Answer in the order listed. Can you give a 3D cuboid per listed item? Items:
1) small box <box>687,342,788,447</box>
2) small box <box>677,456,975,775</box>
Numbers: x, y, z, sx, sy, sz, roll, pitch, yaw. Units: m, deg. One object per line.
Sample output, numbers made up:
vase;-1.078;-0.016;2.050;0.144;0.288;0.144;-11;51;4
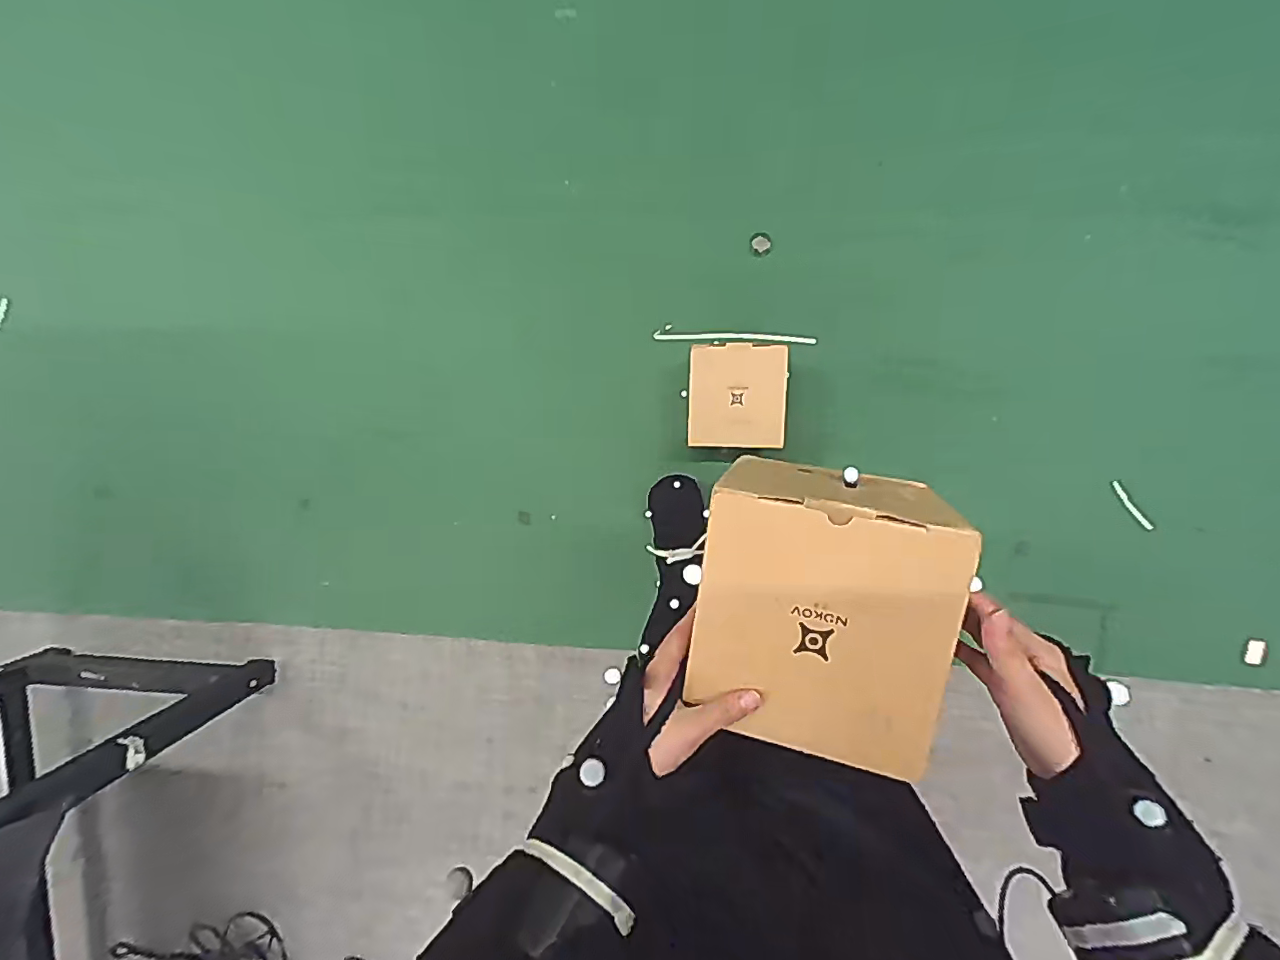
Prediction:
small box;0.172;-0.154;1.001;0.168;0.176;0.179;2;98;6
small box;0.138;0.086;0.438;0.168;0.176;0.179;11;102;14
